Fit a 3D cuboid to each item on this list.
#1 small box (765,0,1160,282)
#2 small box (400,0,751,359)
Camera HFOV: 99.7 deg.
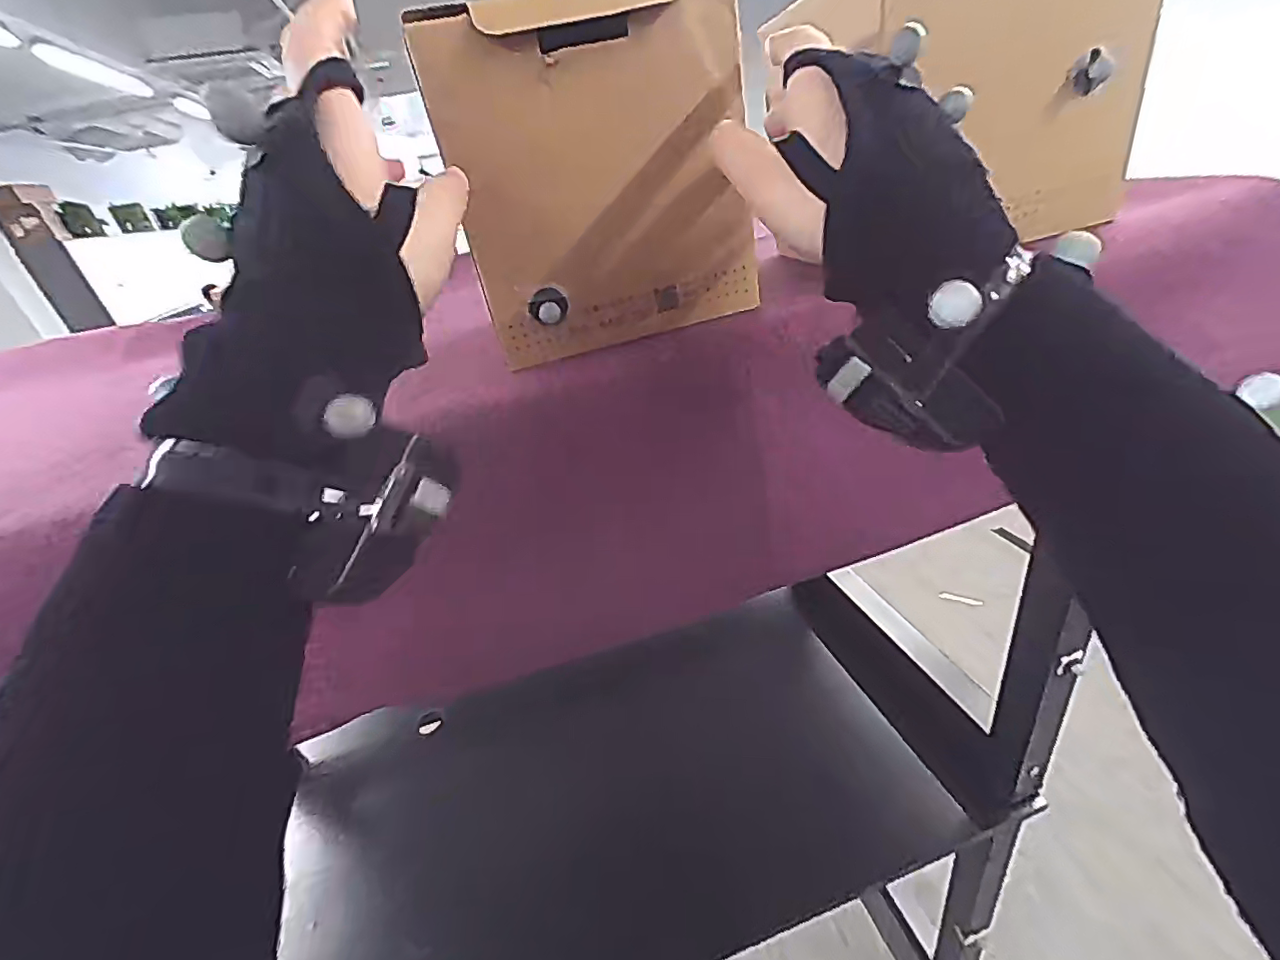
[{"bbox_3d":[0.205,-0.254,0.383,0.179,0.176,0.168,-16,29,-4],"label":"small box"},{"bbox_3d":[-0.038,-0.191,0.361,0.168,0.176,0.179,-17,29,-9],"label":"small box"}]
